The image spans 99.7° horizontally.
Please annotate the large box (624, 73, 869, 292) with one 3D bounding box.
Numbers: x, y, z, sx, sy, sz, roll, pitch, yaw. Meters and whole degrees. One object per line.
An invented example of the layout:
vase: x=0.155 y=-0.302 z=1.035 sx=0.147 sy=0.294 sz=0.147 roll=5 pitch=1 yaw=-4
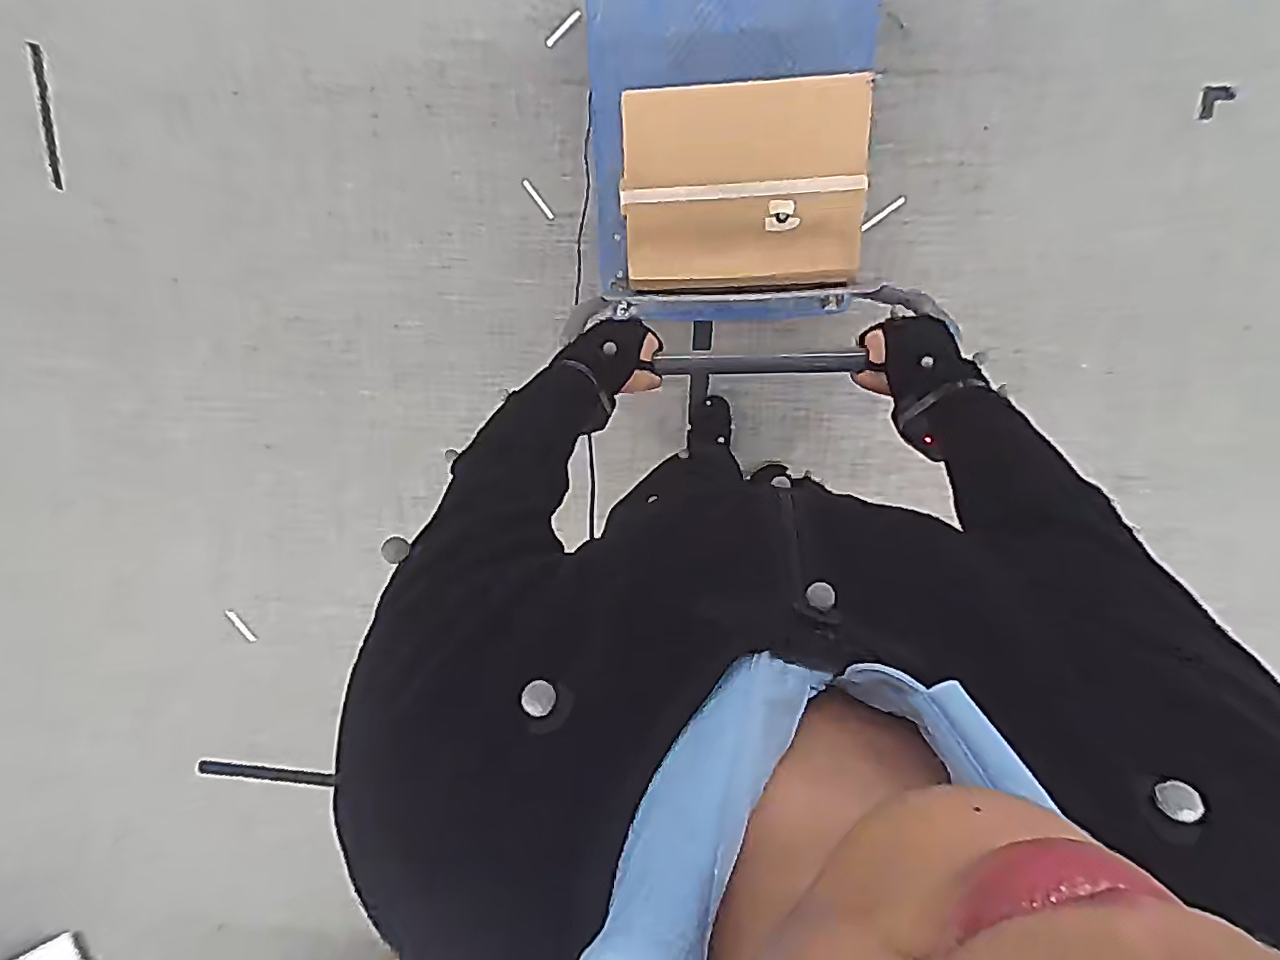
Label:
large box: x=0.190 y=-0.549 z=1.073 sx=0.408 sy=0.320 sz=0.320 roll=-1 pitch=109 yaw=5
